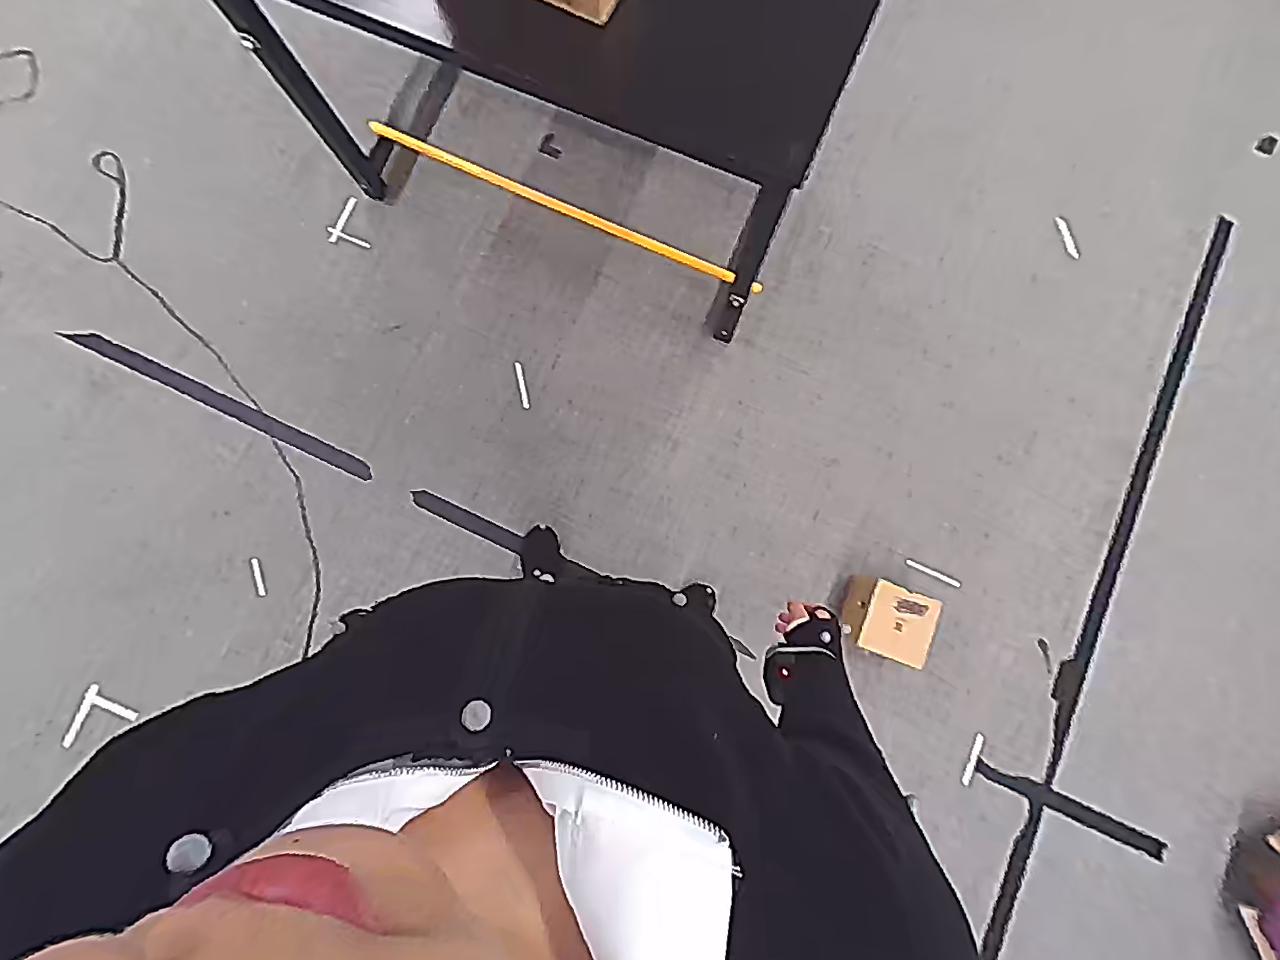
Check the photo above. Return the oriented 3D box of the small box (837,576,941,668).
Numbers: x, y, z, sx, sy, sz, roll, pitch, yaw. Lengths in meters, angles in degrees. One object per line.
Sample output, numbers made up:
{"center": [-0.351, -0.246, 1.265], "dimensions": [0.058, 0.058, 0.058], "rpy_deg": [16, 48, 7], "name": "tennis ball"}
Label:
{"center": [0.634, 0.357, 1.399], "dimensions": [0.168, 0.176, 0.179], "rpy_deg": [21, 84, 3], "name": "small box"}
